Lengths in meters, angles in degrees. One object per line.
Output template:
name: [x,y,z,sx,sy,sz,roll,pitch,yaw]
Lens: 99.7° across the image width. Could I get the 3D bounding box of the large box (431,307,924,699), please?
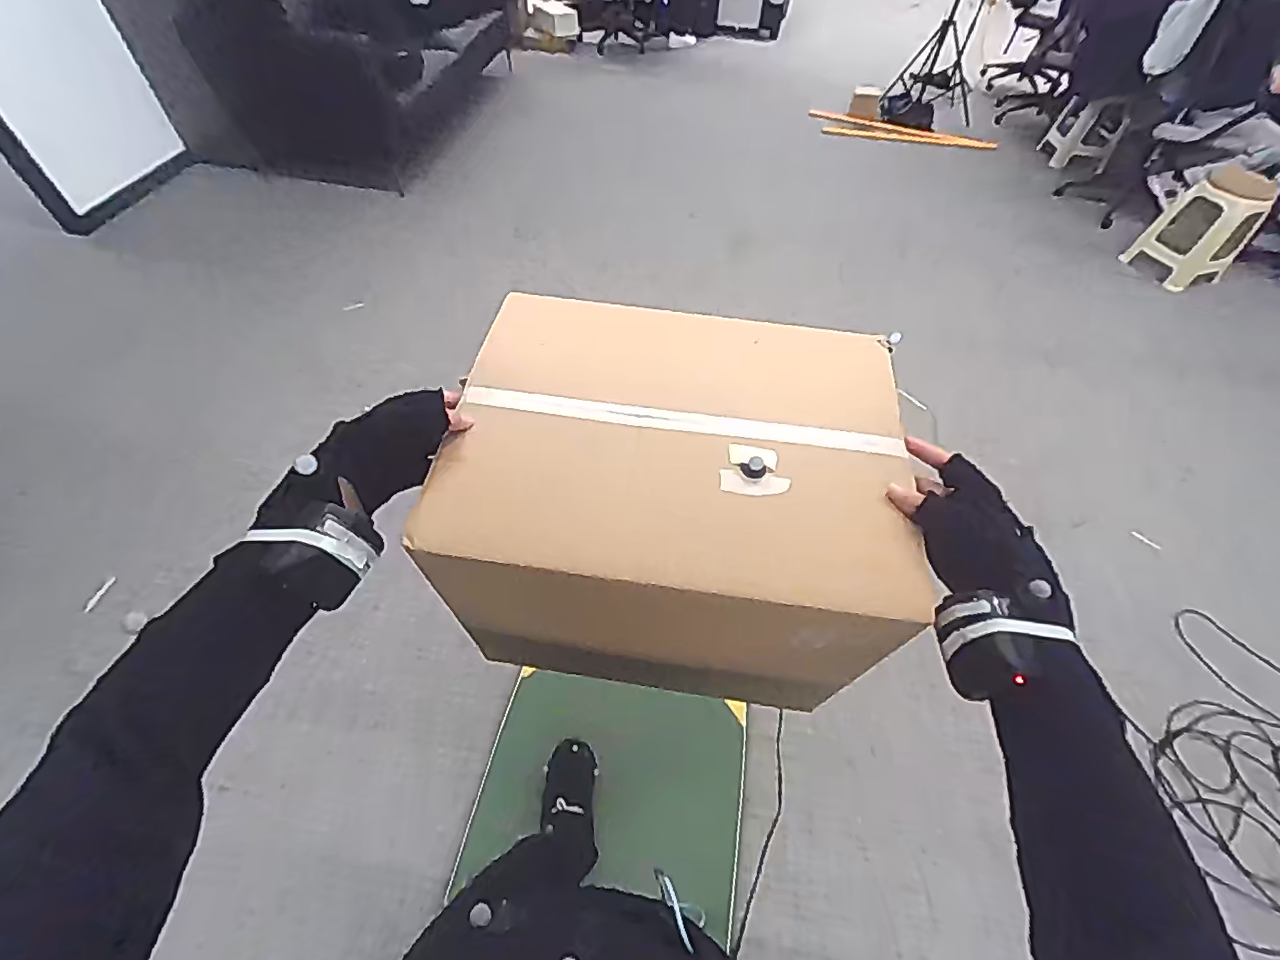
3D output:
large box: [0.036,0.039,0.631,0.408,0.320,0.320,8,56,2]
